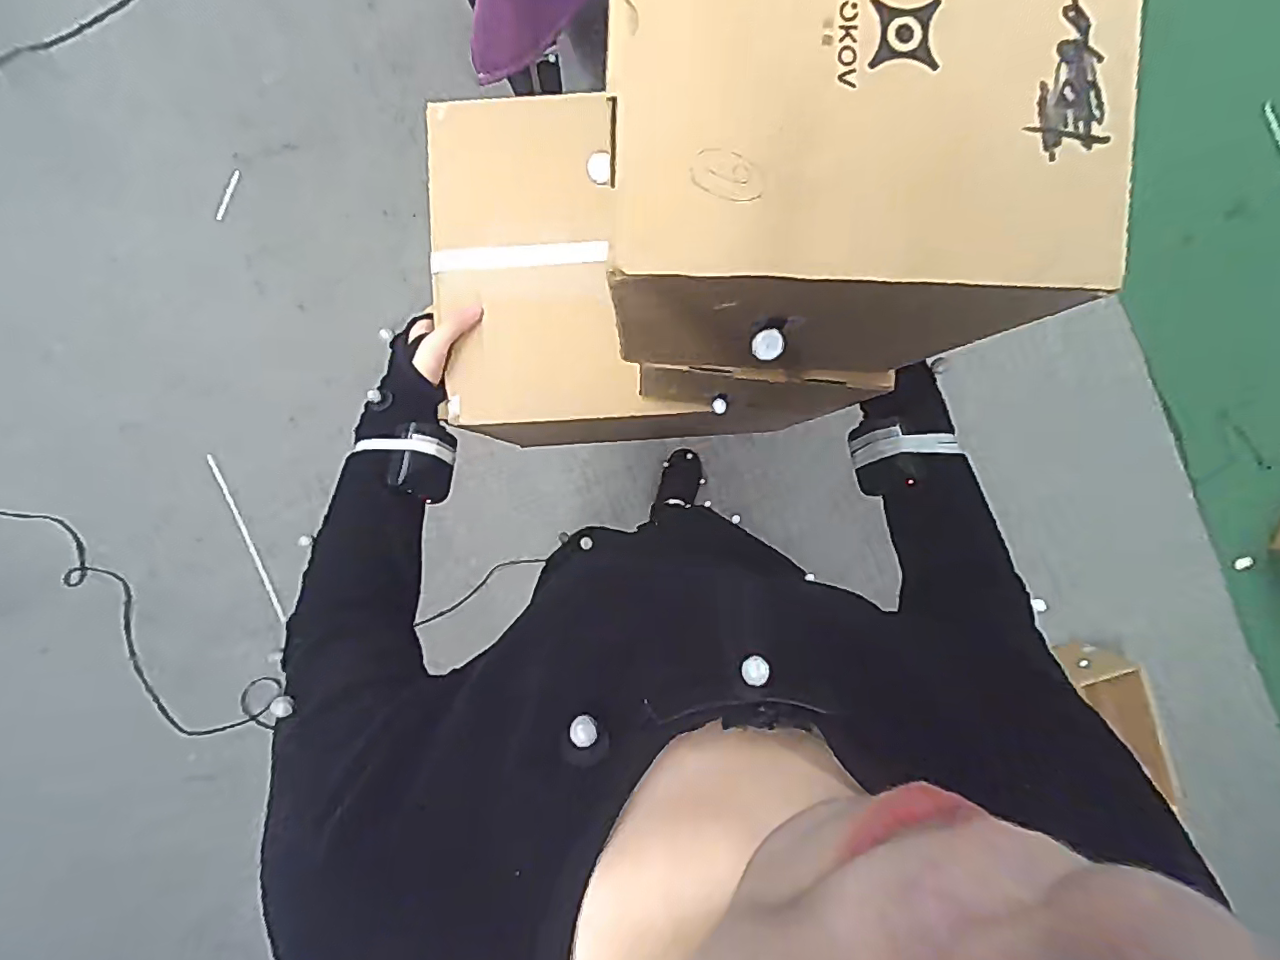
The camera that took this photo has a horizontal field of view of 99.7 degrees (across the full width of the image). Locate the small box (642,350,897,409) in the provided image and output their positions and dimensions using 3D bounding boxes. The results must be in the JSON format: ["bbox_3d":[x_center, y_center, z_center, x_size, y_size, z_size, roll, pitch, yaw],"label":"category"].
[{"bbox_3d":[0.091,-0.158,0.426,0.168,0.176,0.179,6,93,0],"label":"small box"}]

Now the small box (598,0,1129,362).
[{"bbox_3d":[0.077,-0.153,0.262,0.179,0.176,0.168,2,93,1],"label":"small box"}]
